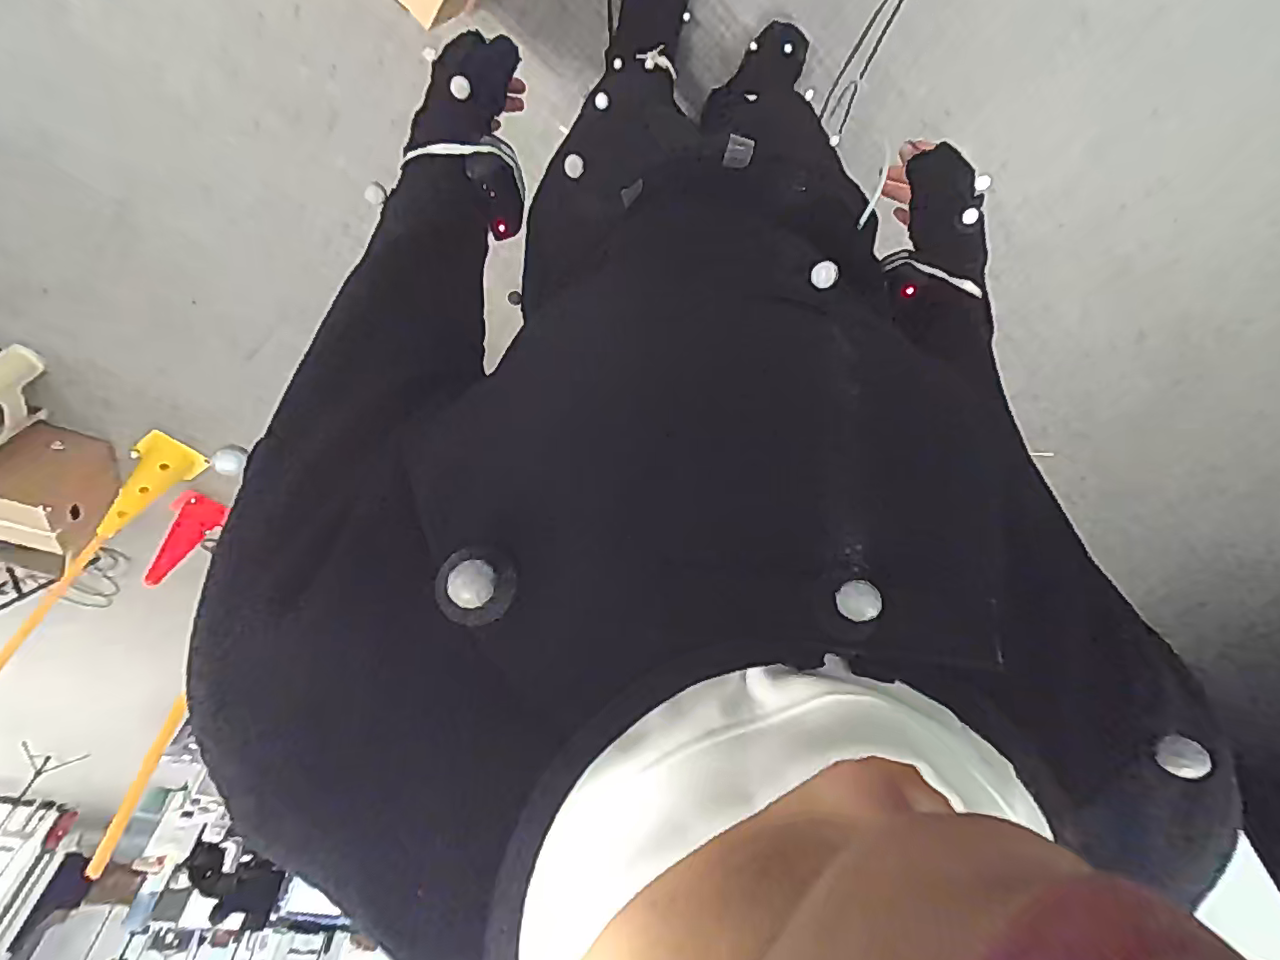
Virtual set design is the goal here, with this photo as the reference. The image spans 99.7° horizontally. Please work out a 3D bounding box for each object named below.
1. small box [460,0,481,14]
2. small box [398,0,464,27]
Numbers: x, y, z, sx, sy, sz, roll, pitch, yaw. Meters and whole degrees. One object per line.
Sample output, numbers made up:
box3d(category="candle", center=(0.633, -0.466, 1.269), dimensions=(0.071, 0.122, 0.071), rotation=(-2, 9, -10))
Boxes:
box3d(category="small box", center=(-0.293, -0.911, 0.864), dimensions=(0.179, 0.176, 0.168), rotation=(32, 130, -29))
box3d(category="small box", center=(-0.304, -0.792, 0.751), dimensions=(0.168, 0.176, 0.179), rotation=(33, 129, -29))
